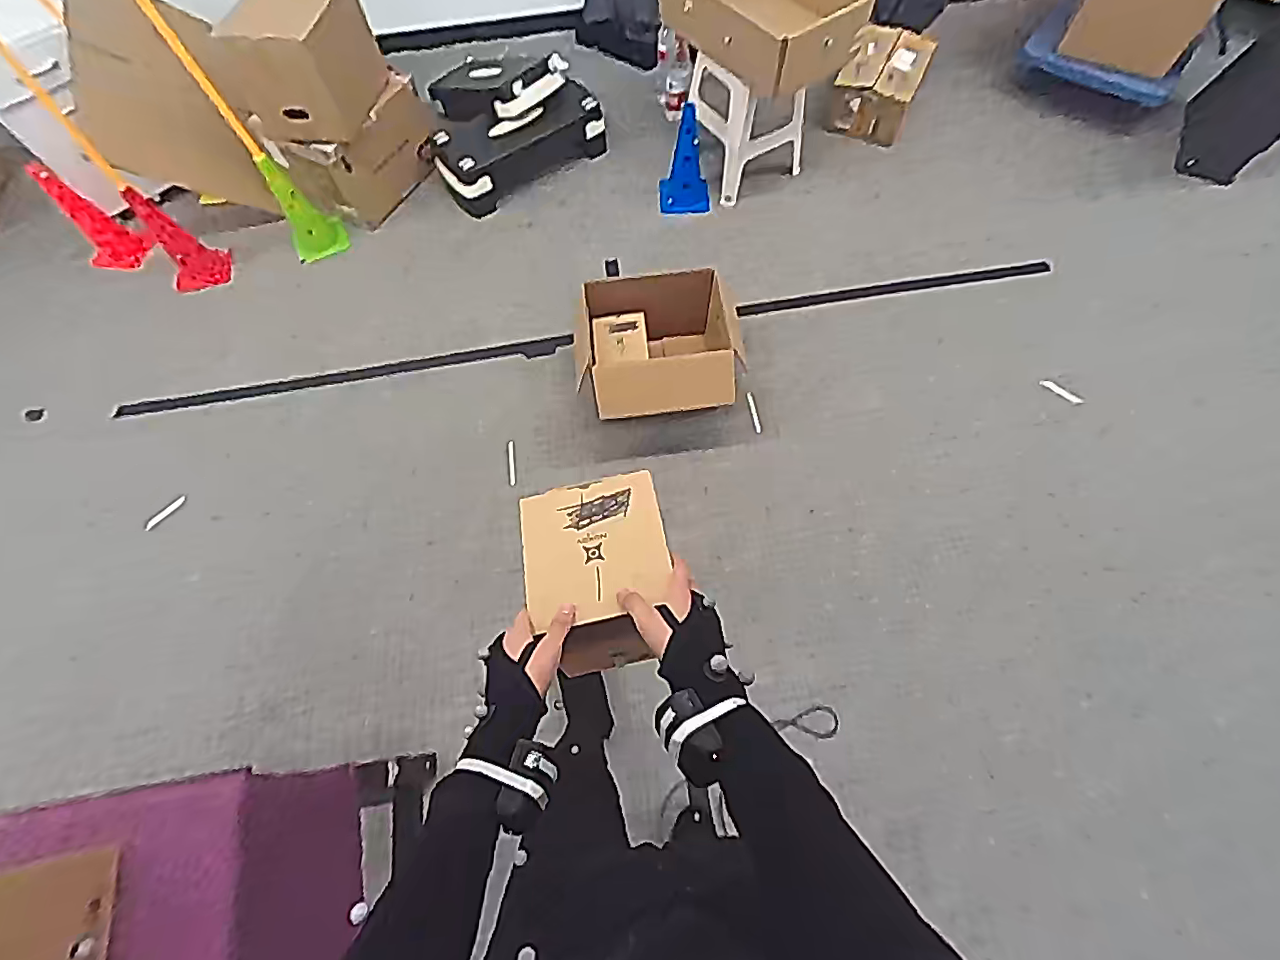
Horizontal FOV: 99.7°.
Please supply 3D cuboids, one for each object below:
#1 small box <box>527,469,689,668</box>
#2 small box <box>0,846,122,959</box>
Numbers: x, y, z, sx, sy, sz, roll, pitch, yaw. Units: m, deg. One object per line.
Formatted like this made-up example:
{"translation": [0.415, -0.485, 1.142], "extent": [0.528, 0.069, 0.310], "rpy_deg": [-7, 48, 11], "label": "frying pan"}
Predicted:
{"translation": [-0.038, 0.116, 0.684], "extent": [0.168, 0.176, 0.179], "rpy_deg": [-13, 55, 2], "label": "small box"}
{"translation": [-0.736, 0.525, 0.585], "extent": [0.179, 0.176, 0.168], "rpy_deg": [-12, 67, -4], "label": "small box"}
